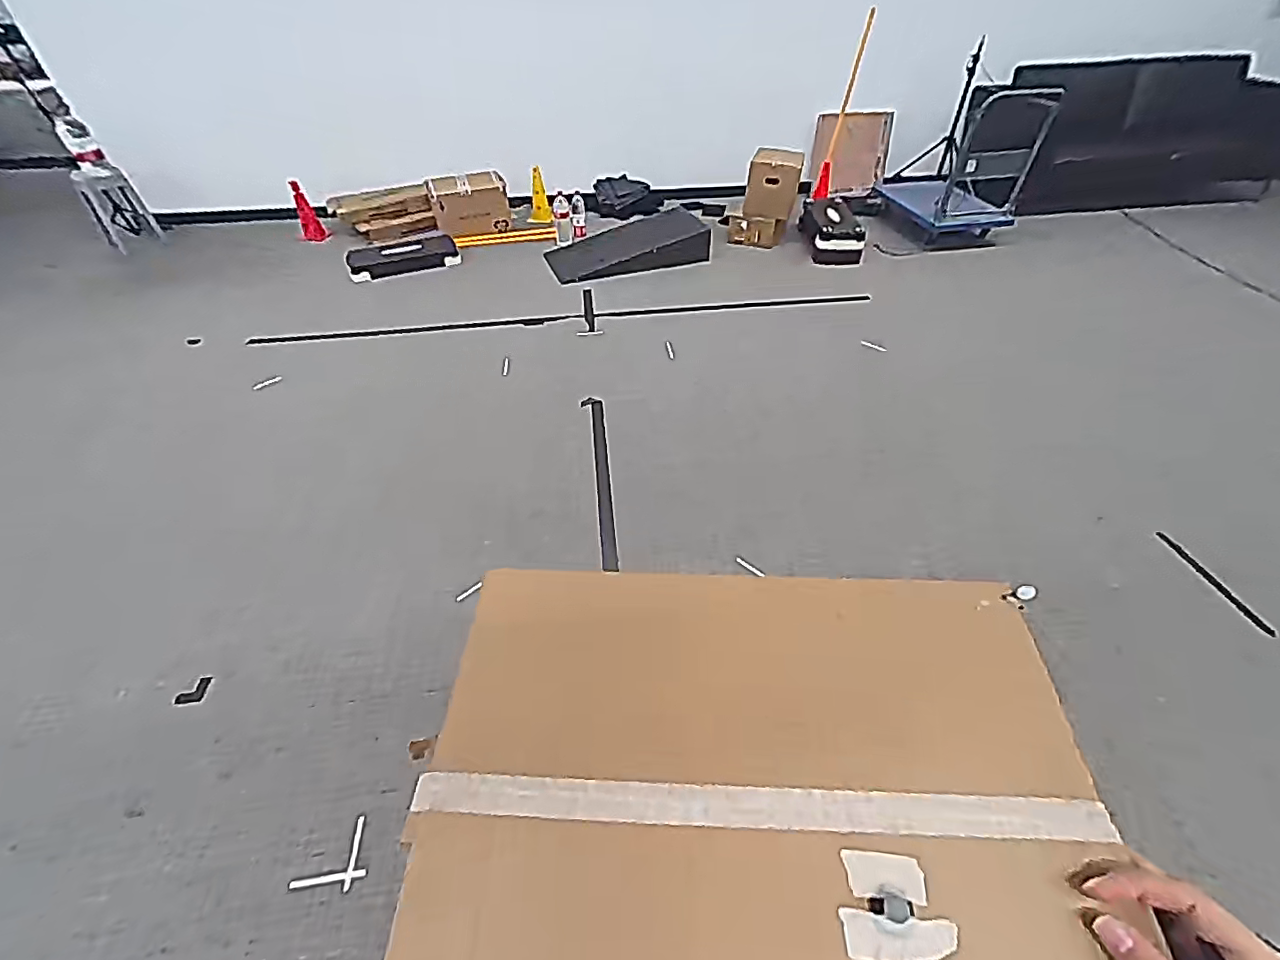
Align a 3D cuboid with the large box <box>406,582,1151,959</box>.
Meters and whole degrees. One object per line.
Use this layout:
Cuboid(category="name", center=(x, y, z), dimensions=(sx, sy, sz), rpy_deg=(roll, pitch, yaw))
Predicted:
Cuboid(category="large box", center=(0.075, 0.296, 0.447), dimensions=(0.408, 0.320, 0.320), rpy_deg=(1, 52, 2))
